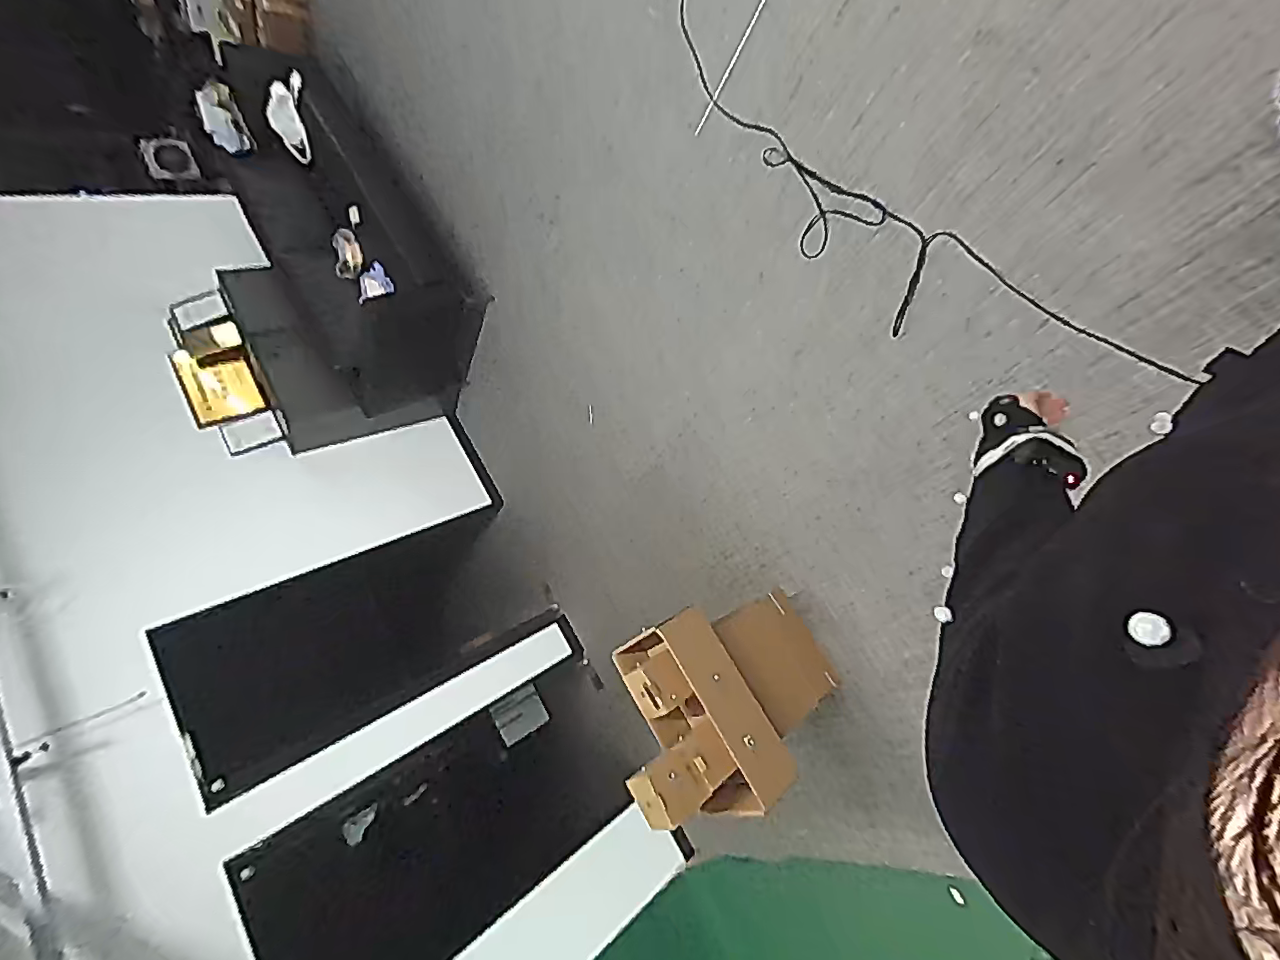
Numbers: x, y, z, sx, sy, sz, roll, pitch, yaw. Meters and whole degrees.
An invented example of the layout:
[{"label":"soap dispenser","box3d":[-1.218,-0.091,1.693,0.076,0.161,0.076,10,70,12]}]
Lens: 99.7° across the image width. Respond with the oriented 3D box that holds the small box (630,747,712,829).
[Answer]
[{"label":"small box","box3d":[0.104,0.979,1.727,0.168,0.176,0.179,57,144,17]}]
